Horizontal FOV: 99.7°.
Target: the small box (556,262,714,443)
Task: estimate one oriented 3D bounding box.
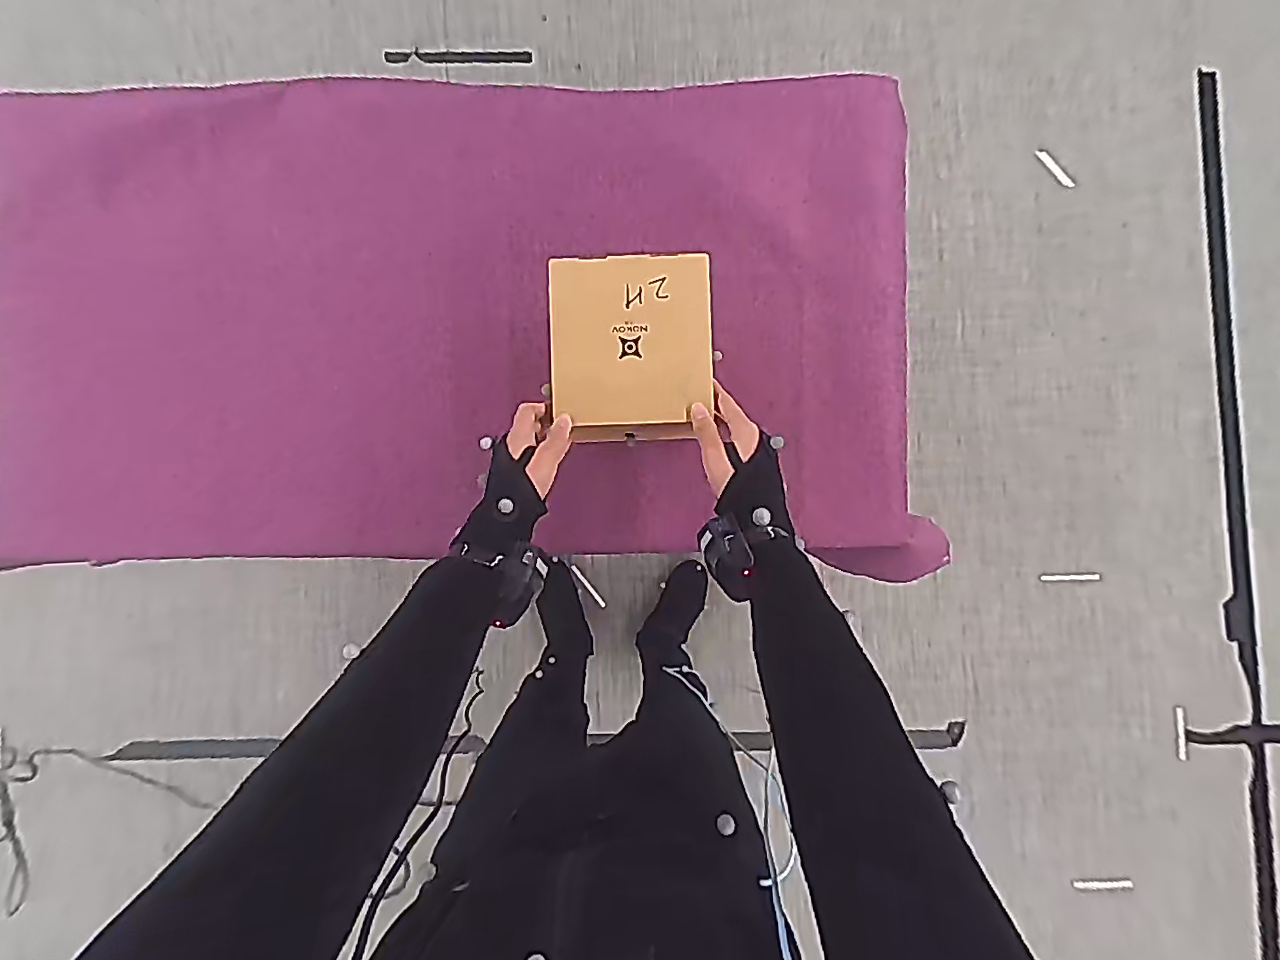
[{"bbox_3d":[-0.003,-0.135,0.633,0.168,0.176,0.179,-1,89,1],"label":"small box"}]
